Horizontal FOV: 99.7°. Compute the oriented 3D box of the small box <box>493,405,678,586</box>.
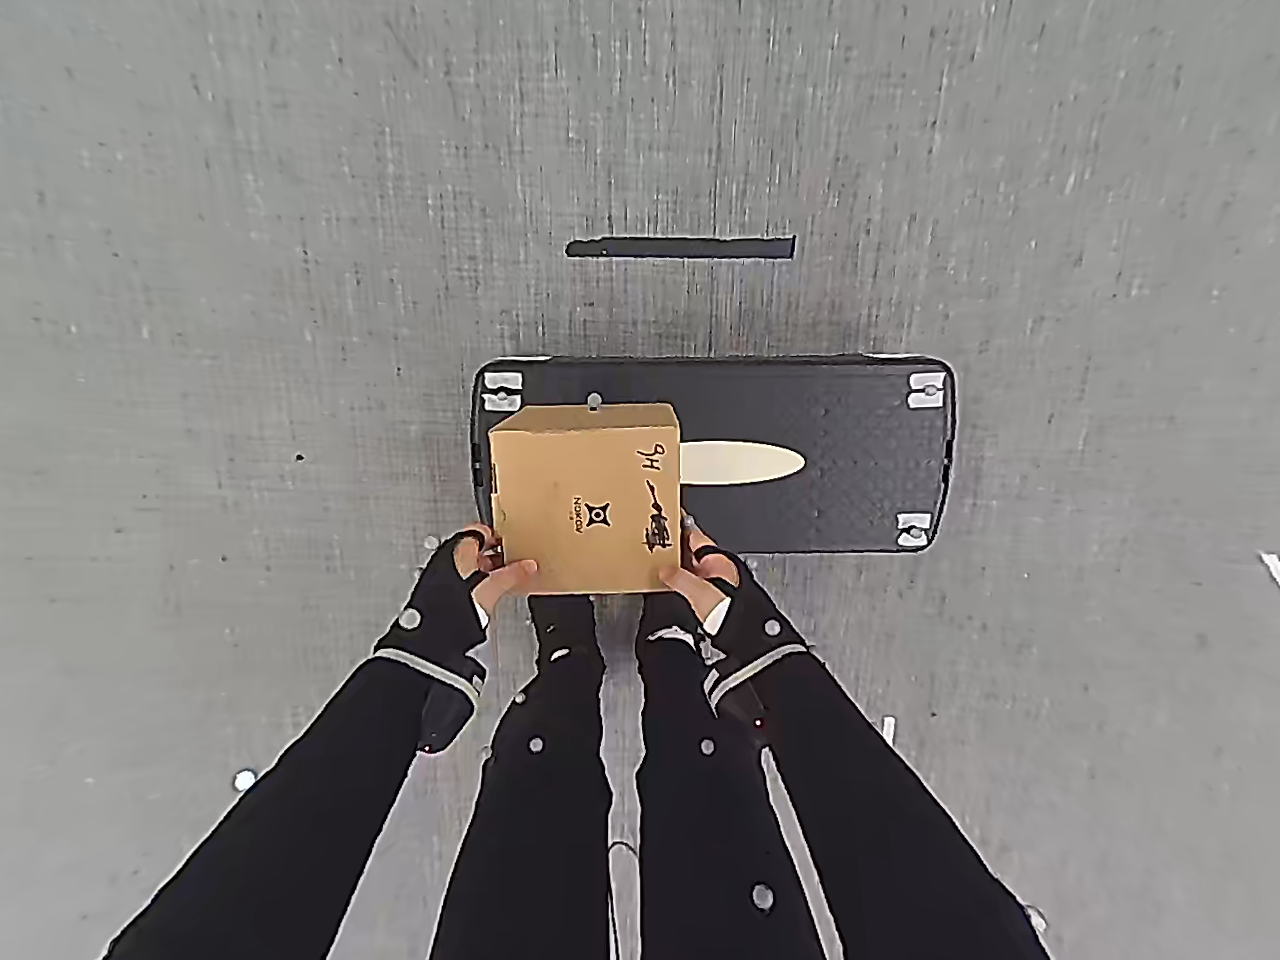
[{"bbox_3d":[-0.048,0.007,0.602,0.179,0.176,0.168,-2,105,1],"label":"small box"}]
